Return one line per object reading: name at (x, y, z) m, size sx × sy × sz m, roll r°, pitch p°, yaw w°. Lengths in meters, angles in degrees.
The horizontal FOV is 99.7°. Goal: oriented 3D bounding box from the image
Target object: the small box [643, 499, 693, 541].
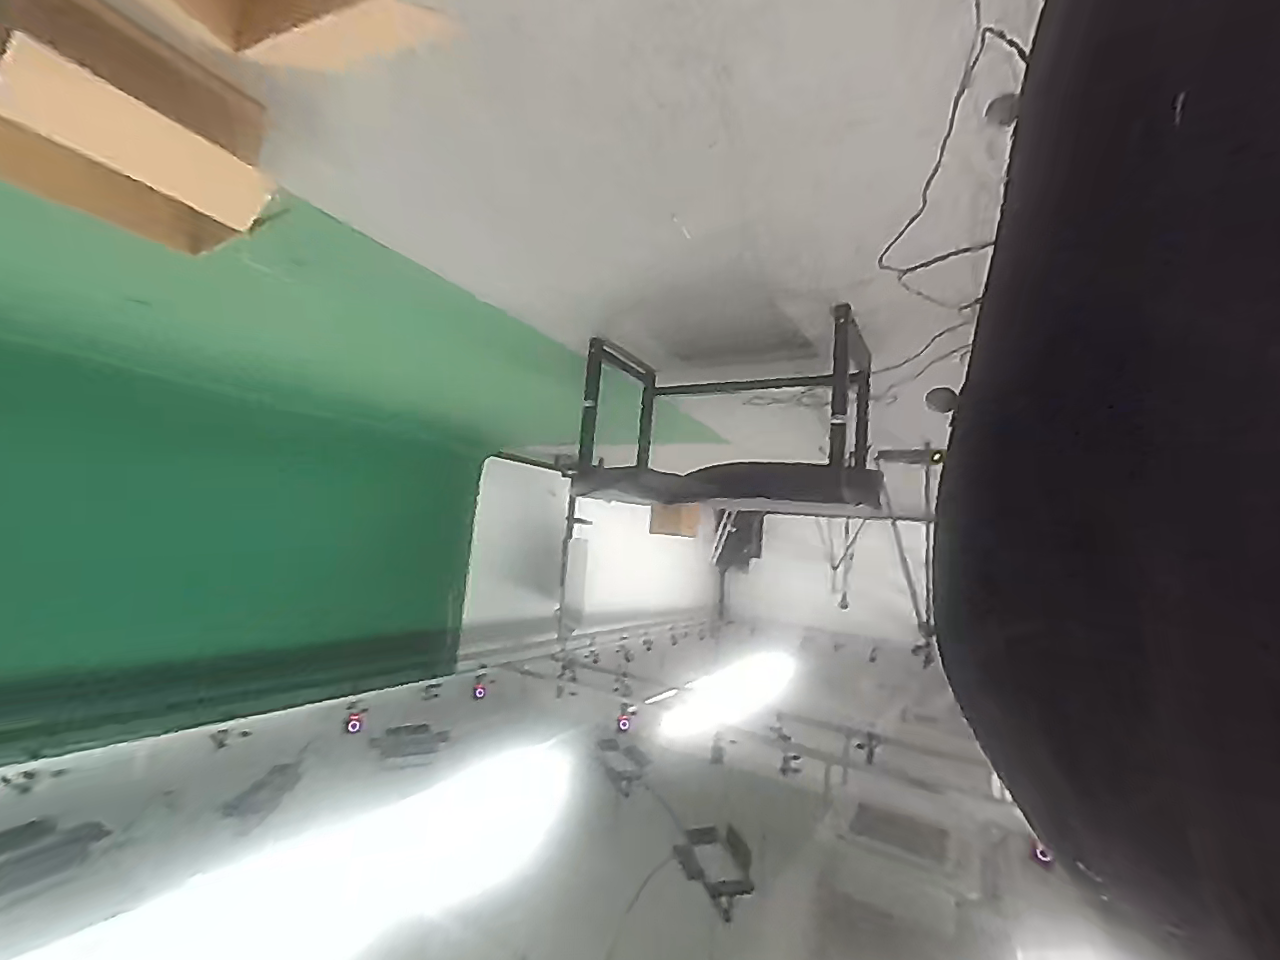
small box at (0.133, 0.185, 2.482) m, size 0.168 × 0.176 × 0.179 m, roll 0°, pitch 172°, yaw 32°
